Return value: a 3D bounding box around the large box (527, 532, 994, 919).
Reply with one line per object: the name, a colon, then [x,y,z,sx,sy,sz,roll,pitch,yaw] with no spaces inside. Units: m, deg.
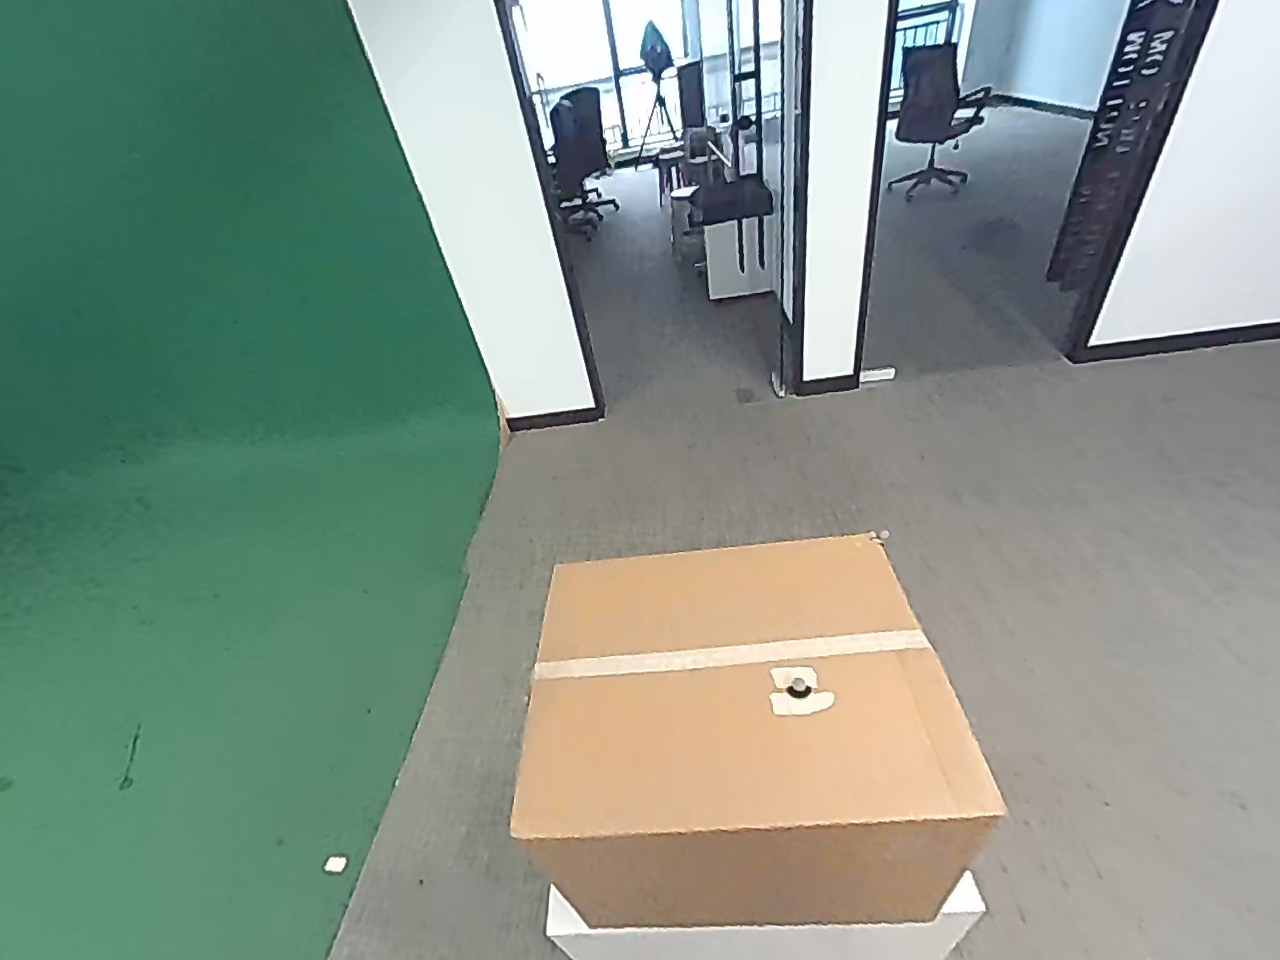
large box: [0.113,0.298,0.662,0.408,0.320,0.320,-6,39,5]
